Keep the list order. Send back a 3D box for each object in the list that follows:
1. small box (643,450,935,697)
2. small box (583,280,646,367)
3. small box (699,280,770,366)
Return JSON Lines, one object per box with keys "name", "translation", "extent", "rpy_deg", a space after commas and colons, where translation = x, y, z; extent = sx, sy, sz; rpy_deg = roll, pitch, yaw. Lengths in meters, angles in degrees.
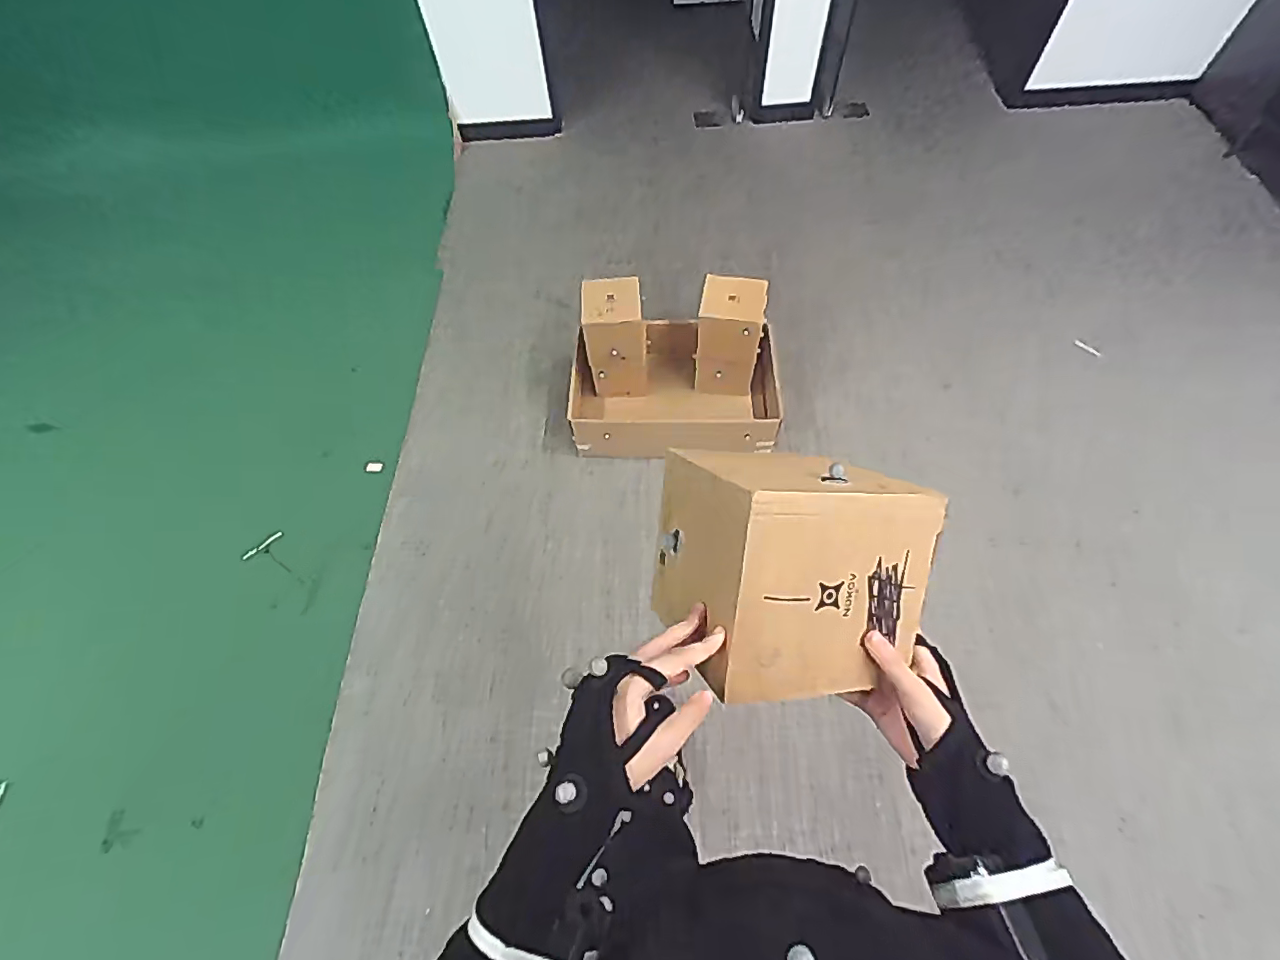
{"name": "small box", "translation": [0.116, 0.069, 0.486], "extent": [0.179, 0.176, 0.168], "rpy_deg": [3, 101, -17]}
{"name": "small box", "translation": [-0.070, -0.452, 1.572], "extent": [0.168, 0.176, 0.179], "rpy_deg": [-3, 61, 3]}
{"name": "small box", "translation": [0.268, -0.447, 1.553], "extent": [0.179, 0.176, 0.168], "rpy_deg": [9, 62, 8]}
